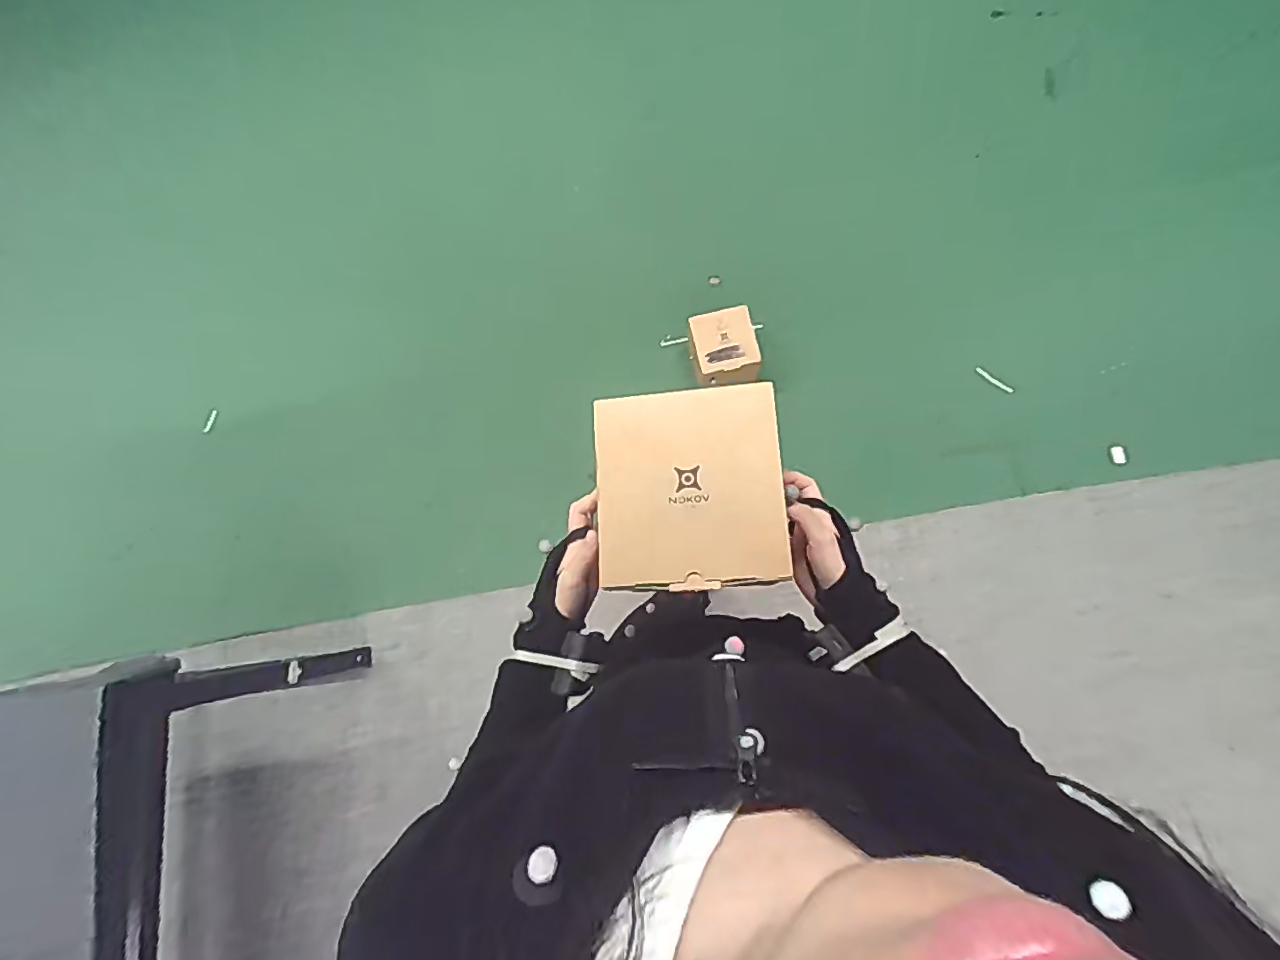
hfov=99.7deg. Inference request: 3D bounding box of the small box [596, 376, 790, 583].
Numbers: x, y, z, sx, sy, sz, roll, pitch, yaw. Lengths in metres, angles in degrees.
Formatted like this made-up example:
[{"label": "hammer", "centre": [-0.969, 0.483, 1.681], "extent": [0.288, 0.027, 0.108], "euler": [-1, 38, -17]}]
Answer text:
[{"label": "small box", "centre": [0.051, 0.012, 0.549], "extent": [0.168, 0.176, 0.179], "euler": [-4, 78, 7]}]
